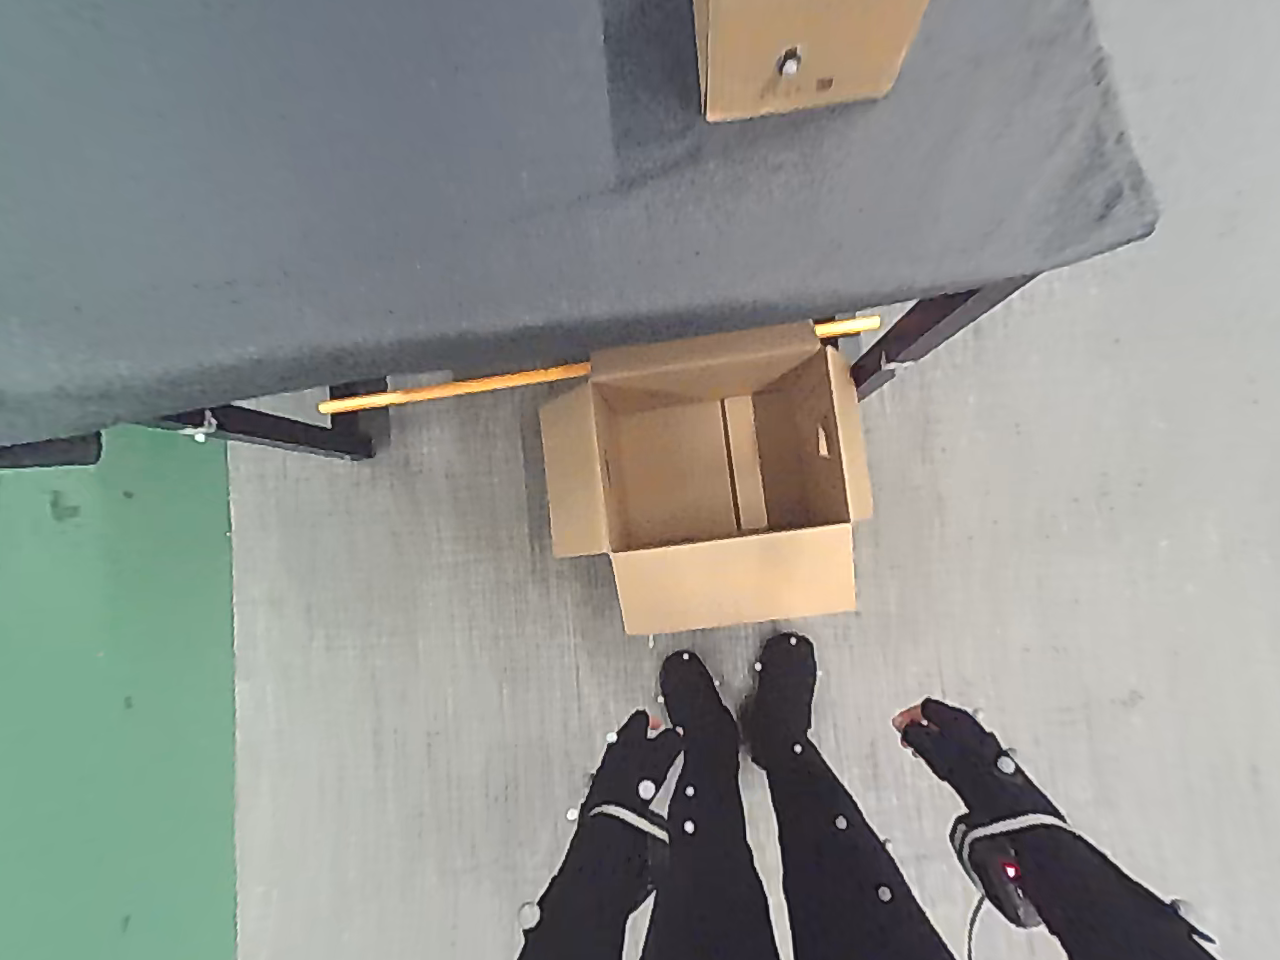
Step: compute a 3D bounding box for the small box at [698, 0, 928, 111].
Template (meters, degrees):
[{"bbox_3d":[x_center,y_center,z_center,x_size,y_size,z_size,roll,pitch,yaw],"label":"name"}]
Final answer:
[{"bbox_3d":[0.129,-0.433,0.416,0.168,0.176,0.179,-5,86,6],"label":"small box"}]
